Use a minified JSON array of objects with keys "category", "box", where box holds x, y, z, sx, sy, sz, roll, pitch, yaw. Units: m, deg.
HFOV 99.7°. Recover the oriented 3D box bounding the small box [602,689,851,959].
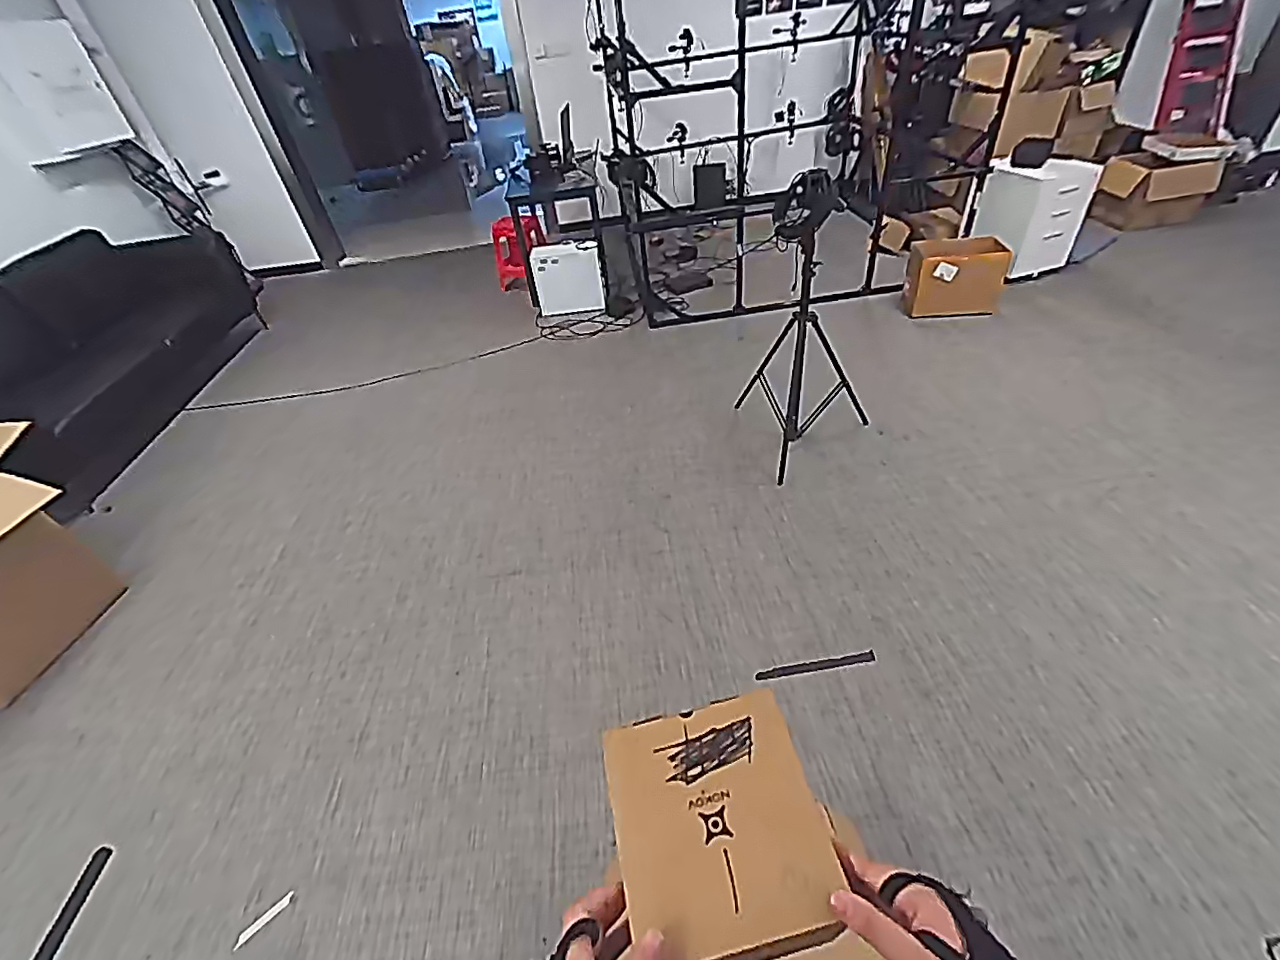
[{"category":"small box","box":[0.068,0.329,0.502,0.168,0.176,0.179,-14,45,-3]}]
